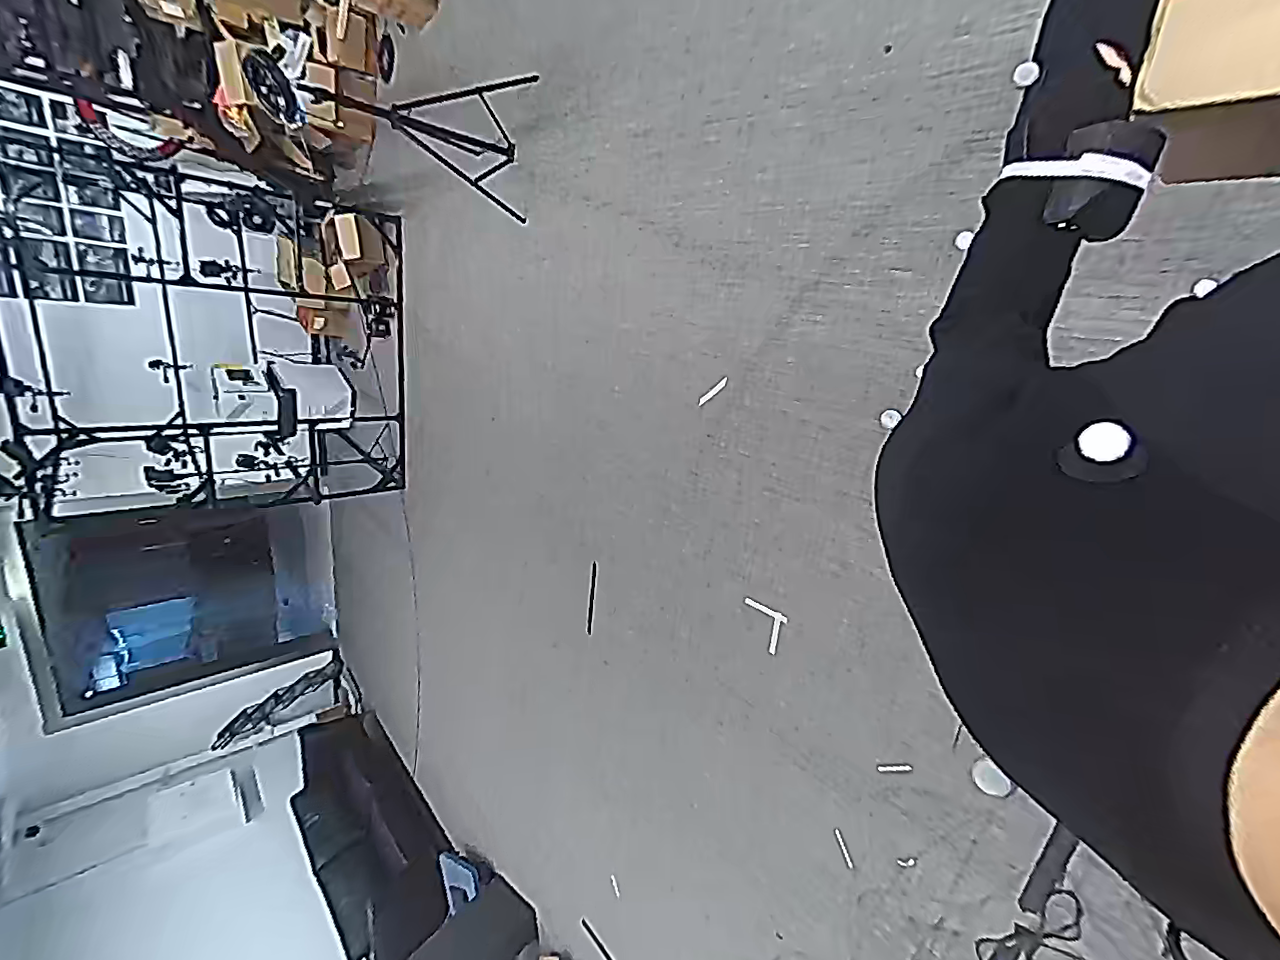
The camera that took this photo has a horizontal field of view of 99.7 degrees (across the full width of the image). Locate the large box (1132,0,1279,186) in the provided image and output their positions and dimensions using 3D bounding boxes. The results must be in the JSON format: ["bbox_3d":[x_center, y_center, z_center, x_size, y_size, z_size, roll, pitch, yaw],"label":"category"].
[{"bbox_3d":[0.589,-0.380,0.301,0.408,0.320,0.320,20,117,41],"label":"large box"}]
